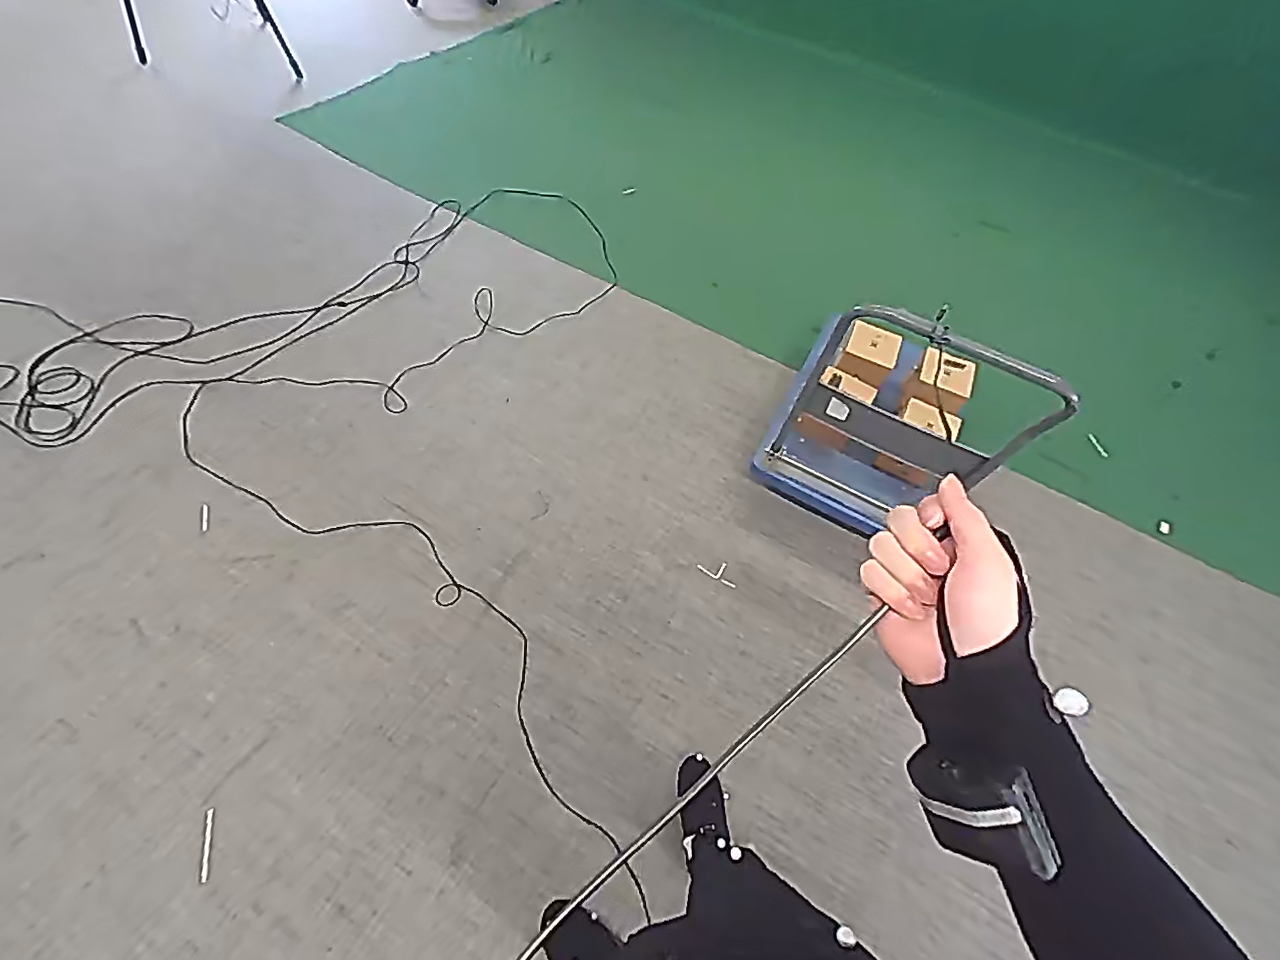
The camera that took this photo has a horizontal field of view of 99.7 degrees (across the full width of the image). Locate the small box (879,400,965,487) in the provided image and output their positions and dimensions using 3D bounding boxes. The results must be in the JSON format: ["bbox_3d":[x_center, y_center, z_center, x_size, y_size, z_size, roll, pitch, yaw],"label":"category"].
[{"bbox_3d":[0.885,-0.114,1.711,0.168,0.176,0.179,29,60,12],"label":"small box"}]

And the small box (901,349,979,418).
[{"bbox_3d":[1.018,-0.307,1.846,0.168,0.176,0.179,24,60,10],"label":"small box"}]

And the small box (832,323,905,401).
[{"bbox_3d":[0.791,-0.407,1.888,0.168,0.176,0.179,25,59,9],"label":"small box"}]
